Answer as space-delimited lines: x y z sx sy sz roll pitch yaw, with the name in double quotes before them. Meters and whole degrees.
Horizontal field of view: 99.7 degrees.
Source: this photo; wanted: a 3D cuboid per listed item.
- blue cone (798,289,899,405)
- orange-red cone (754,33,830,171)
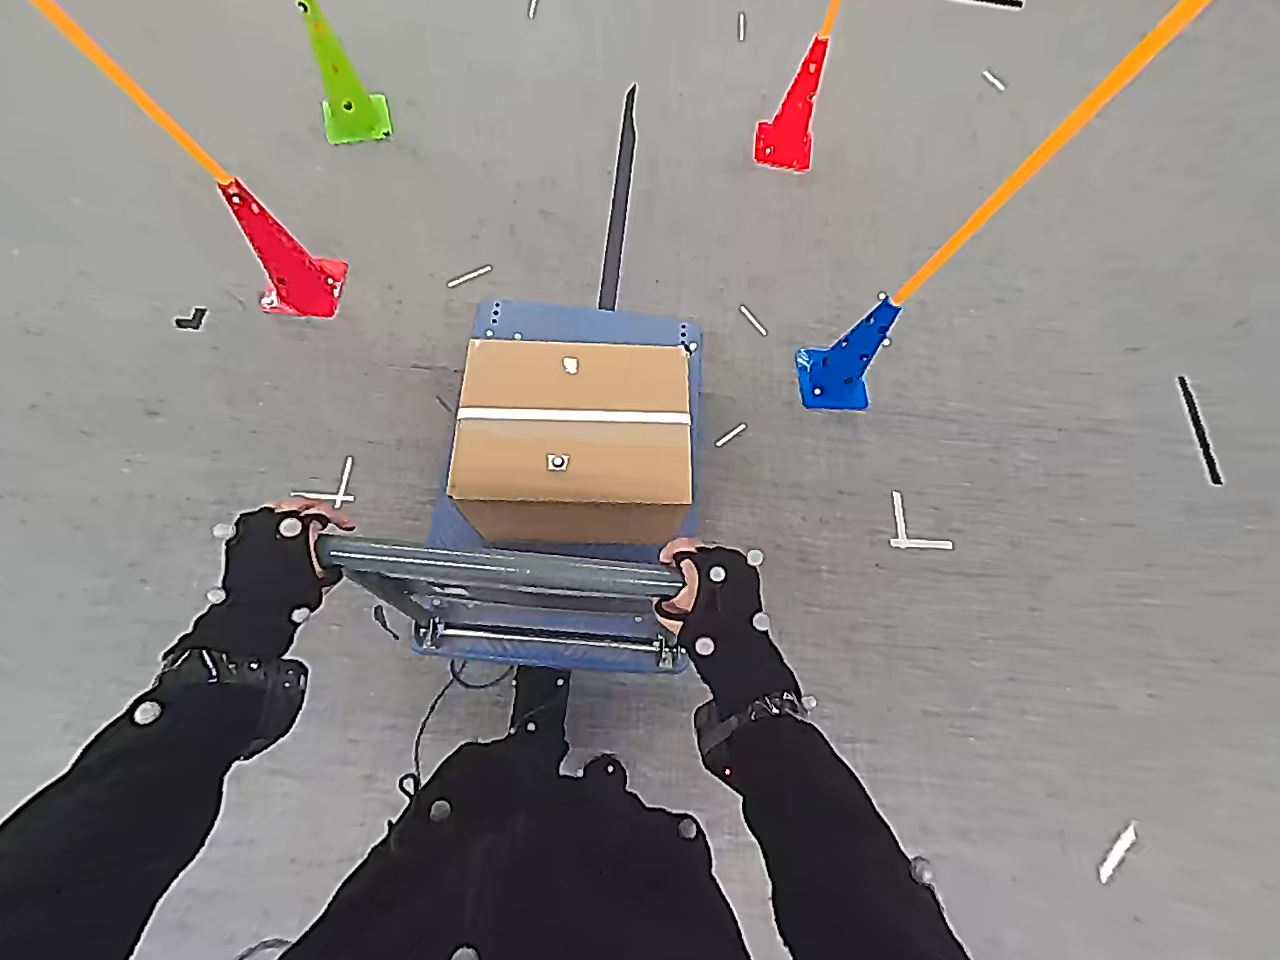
"blue cone" 0.583 -0.363 1.447 0.193 0.380 0.192 2 69 -5
"orange-red cone" 0.519 -1.226 1.731 0.199 0.360 0.198 12 71 -2
